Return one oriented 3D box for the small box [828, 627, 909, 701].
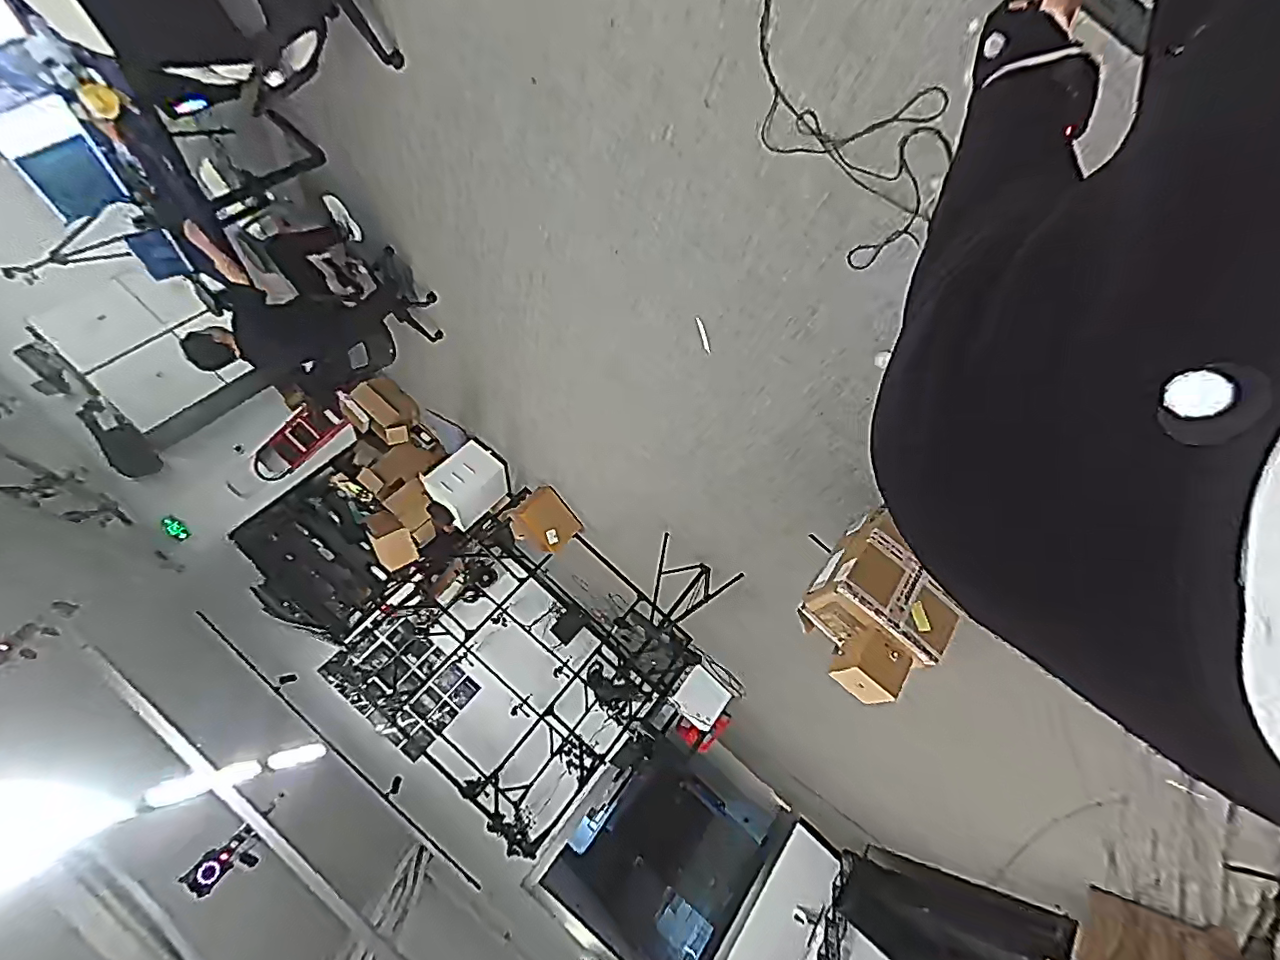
[{"bbox_3d":[0.791,0.635,1.866,0.168,0.176,0.179,39,149,6],"label":"small box"}]
